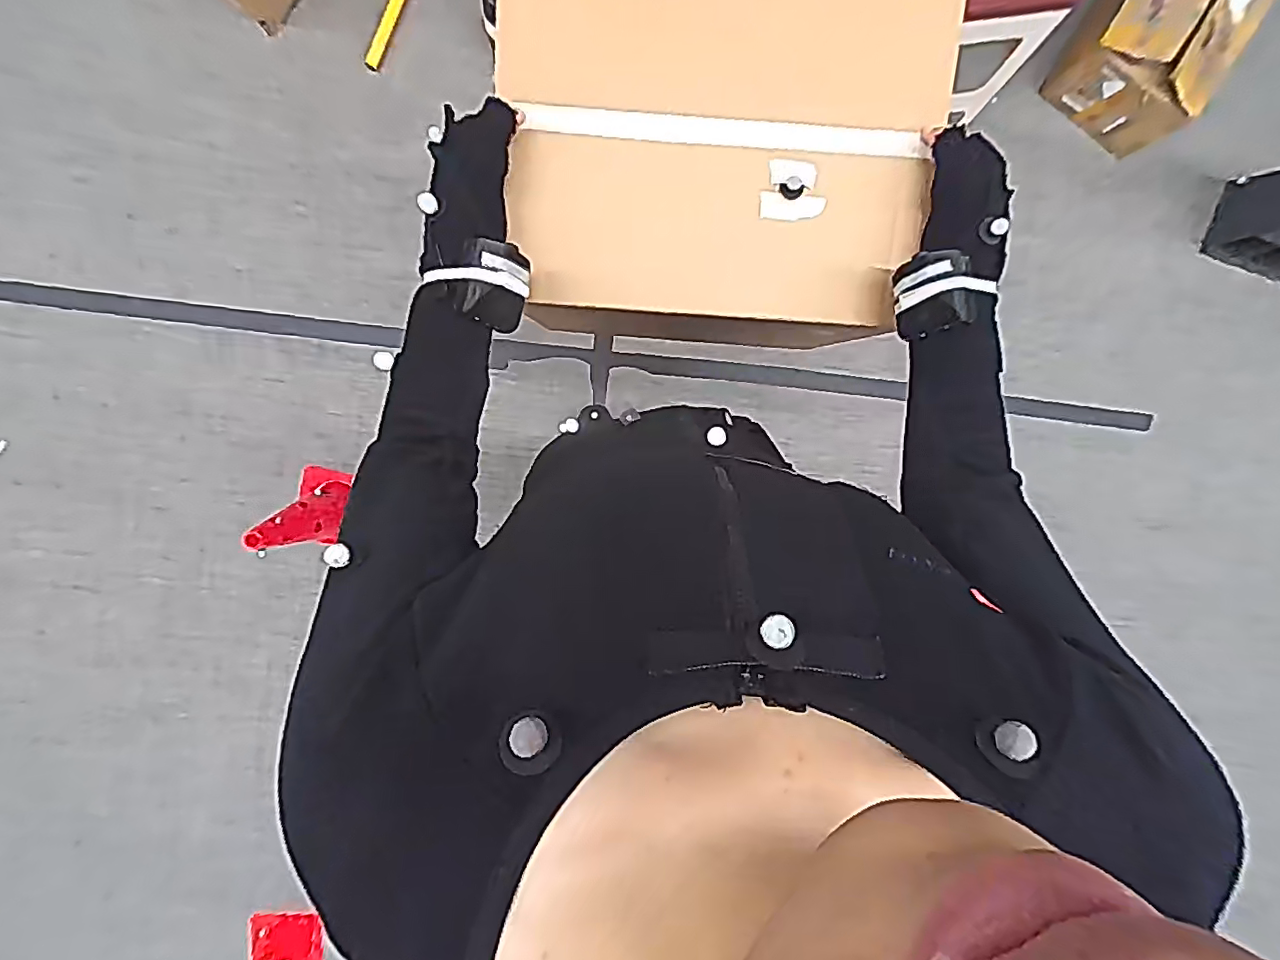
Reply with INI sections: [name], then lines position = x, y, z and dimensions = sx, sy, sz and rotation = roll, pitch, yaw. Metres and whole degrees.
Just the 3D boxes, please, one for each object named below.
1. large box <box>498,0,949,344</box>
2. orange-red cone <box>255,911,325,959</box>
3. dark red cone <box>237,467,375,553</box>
[large box]
position = 0.065, -0.338, 0.637
dimensions = 0.408, 0.320, 0.320
rotation = 3, 100, -2
[orange-red cone]
position = -1.007, 1.367, 1.398
dimensions = 0.198, 0.360, 0.199
rotation = 4, 98, -4
[dark red cone]
position = -0.780, 0.097, 1.233
dimensions = 0.201, 0.394, 0.202
rotation = 12, 96, -7
